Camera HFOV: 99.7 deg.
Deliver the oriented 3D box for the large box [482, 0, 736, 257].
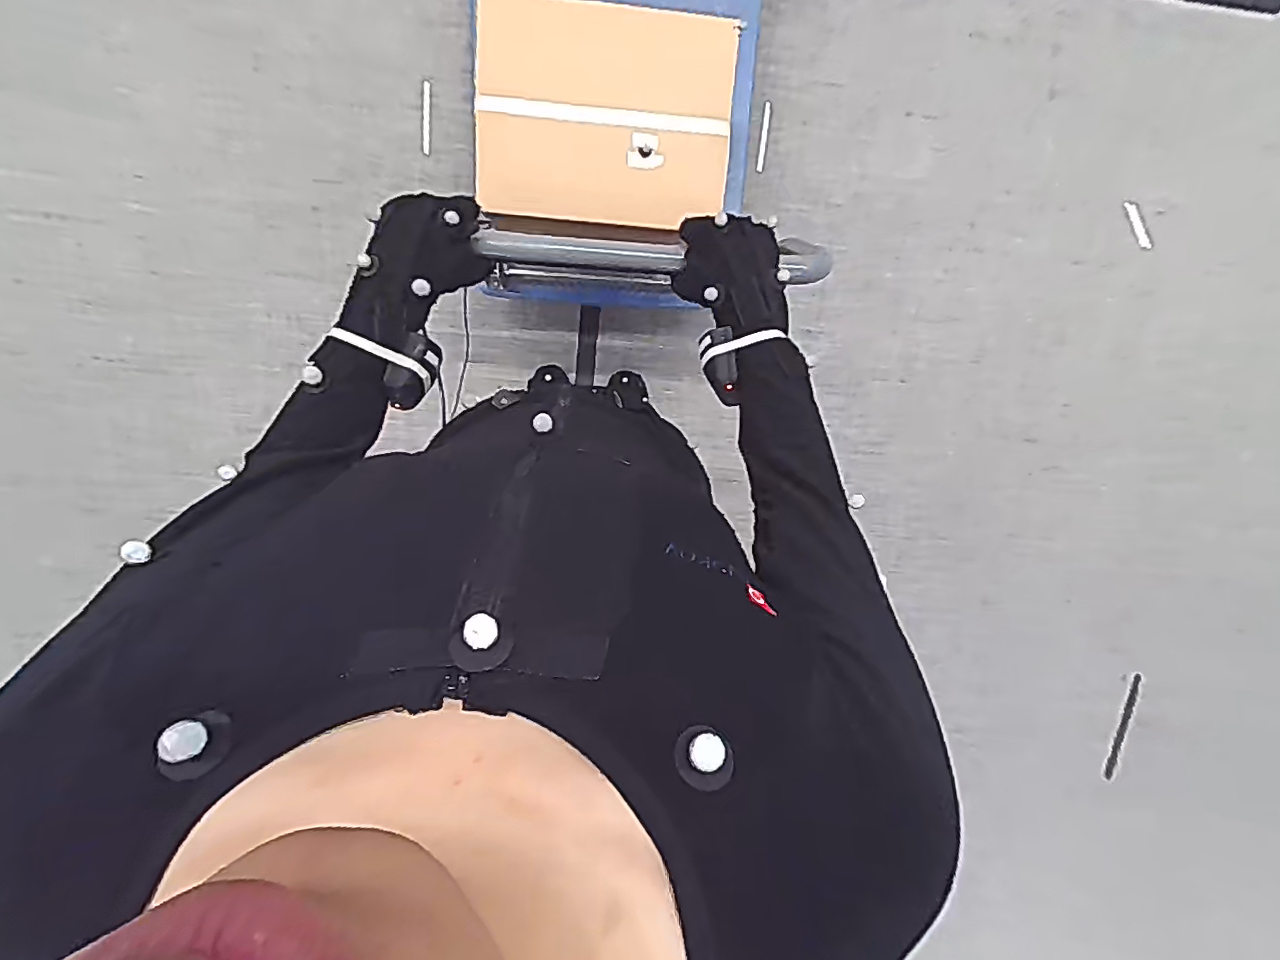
[{"bbox_3d":[-0.066,-0.621,1.018,0.408,0.320,0.320,3,103,-6],"label":"large box"}]
